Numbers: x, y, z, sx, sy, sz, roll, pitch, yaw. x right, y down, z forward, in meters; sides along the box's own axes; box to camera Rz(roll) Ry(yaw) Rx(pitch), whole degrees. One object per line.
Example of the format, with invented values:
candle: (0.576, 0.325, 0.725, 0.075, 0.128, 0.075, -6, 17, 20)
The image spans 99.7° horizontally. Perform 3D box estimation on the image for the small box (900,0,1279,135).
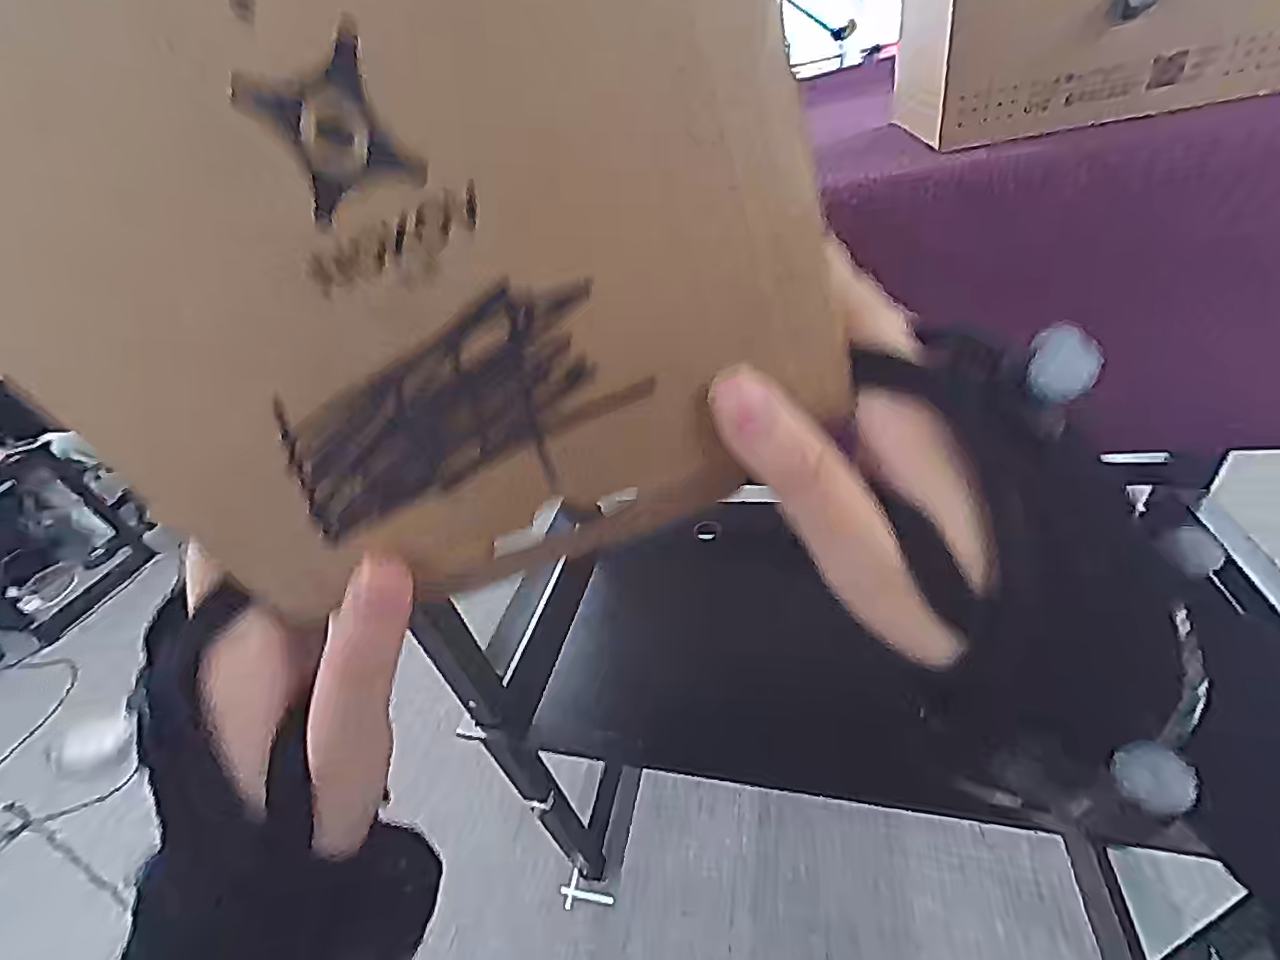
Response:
small box: (0.252, -0.309, 0.302, 0.168, 0.176, 0.179, -2, 37, 16)
